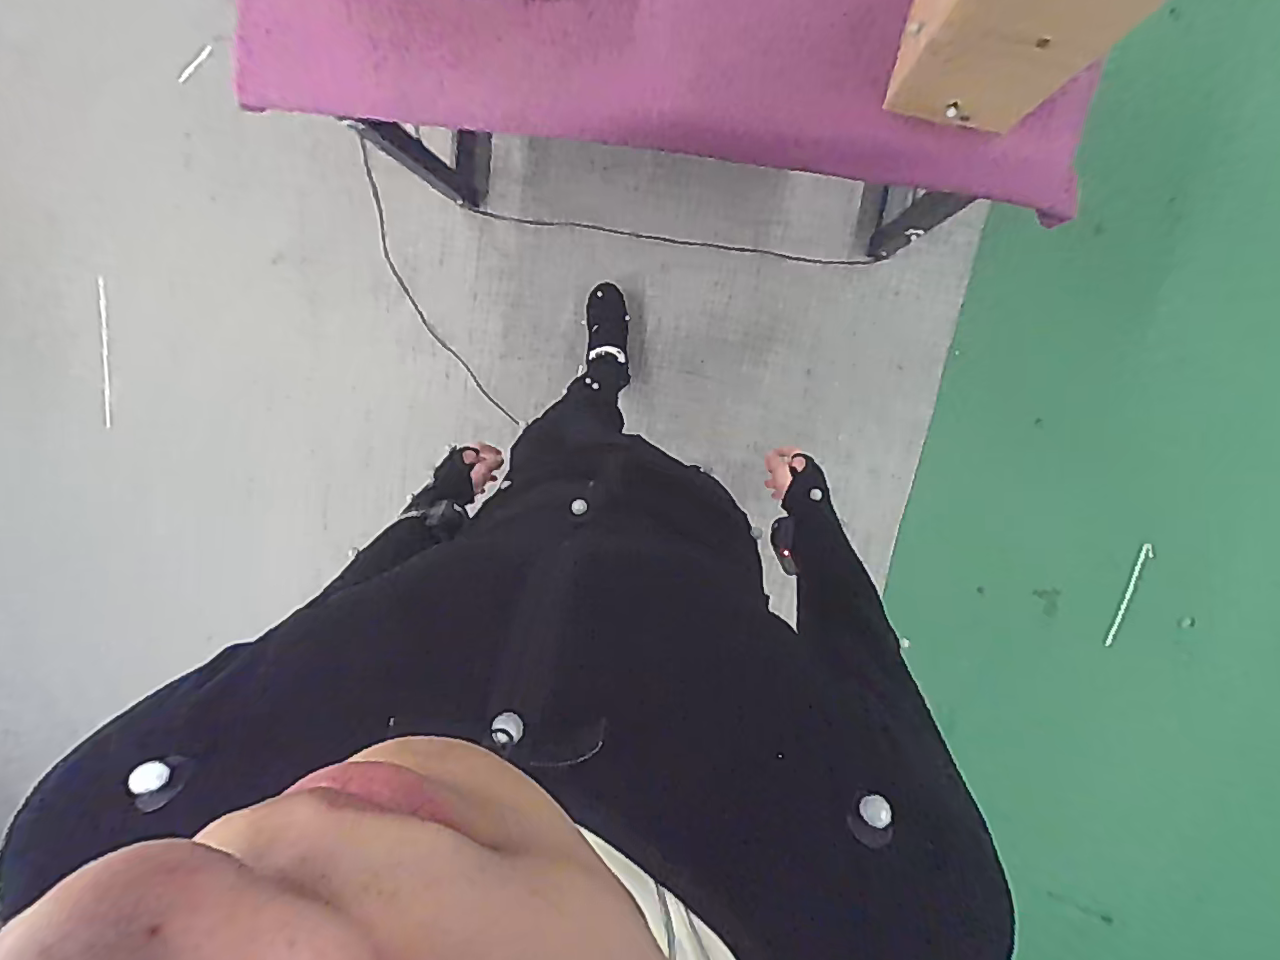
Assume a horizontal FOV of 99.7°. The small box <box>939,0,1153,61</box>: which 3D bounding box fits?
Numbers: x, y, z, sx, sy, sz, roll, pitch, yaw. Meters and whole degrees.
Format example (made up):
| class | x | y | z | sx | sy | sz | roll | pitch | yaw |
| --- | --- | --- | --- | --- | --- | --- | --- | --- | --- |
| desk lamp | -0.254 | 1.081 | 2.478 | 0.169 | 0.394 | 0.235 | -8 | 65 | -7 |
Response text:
| class | x | y | z | sx | sy | sz | roll | pitch | yaw |
| --- | --- | --- | --- | --- | --- | --- | --- | --- | --- |
| small box | 0.397 | -0.525 | 0.475 | 0.168 | 0.176 | 0.179 | 14 | 101 | 4 |
